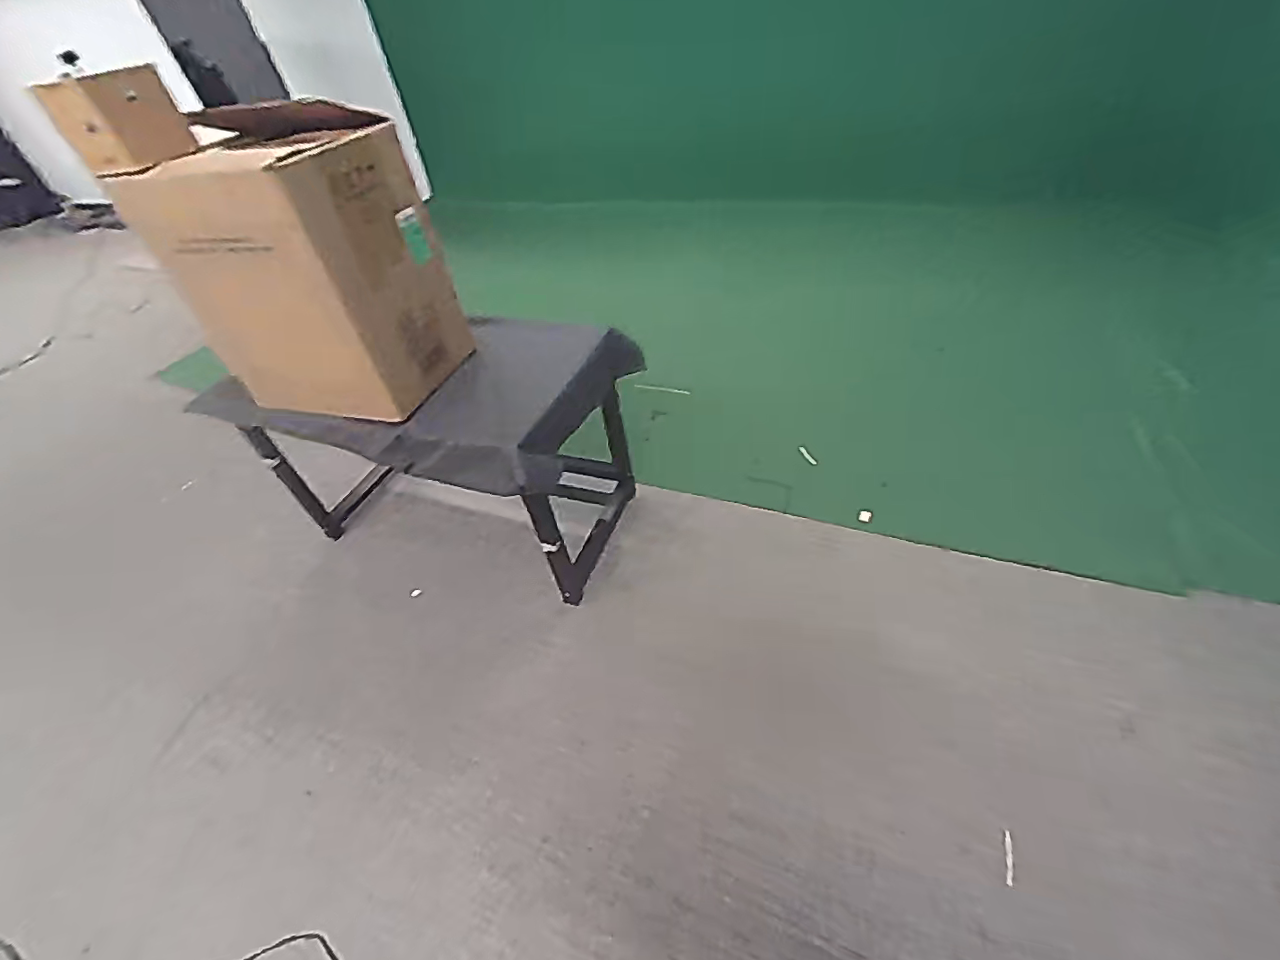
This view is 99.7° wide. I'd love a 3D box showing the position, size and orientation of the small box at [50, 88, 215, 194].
[{"bbox_3d":[-1.125,-0.754,1.215,0.168,0.176,0.179,7,45,19],"label":"small box"}]
